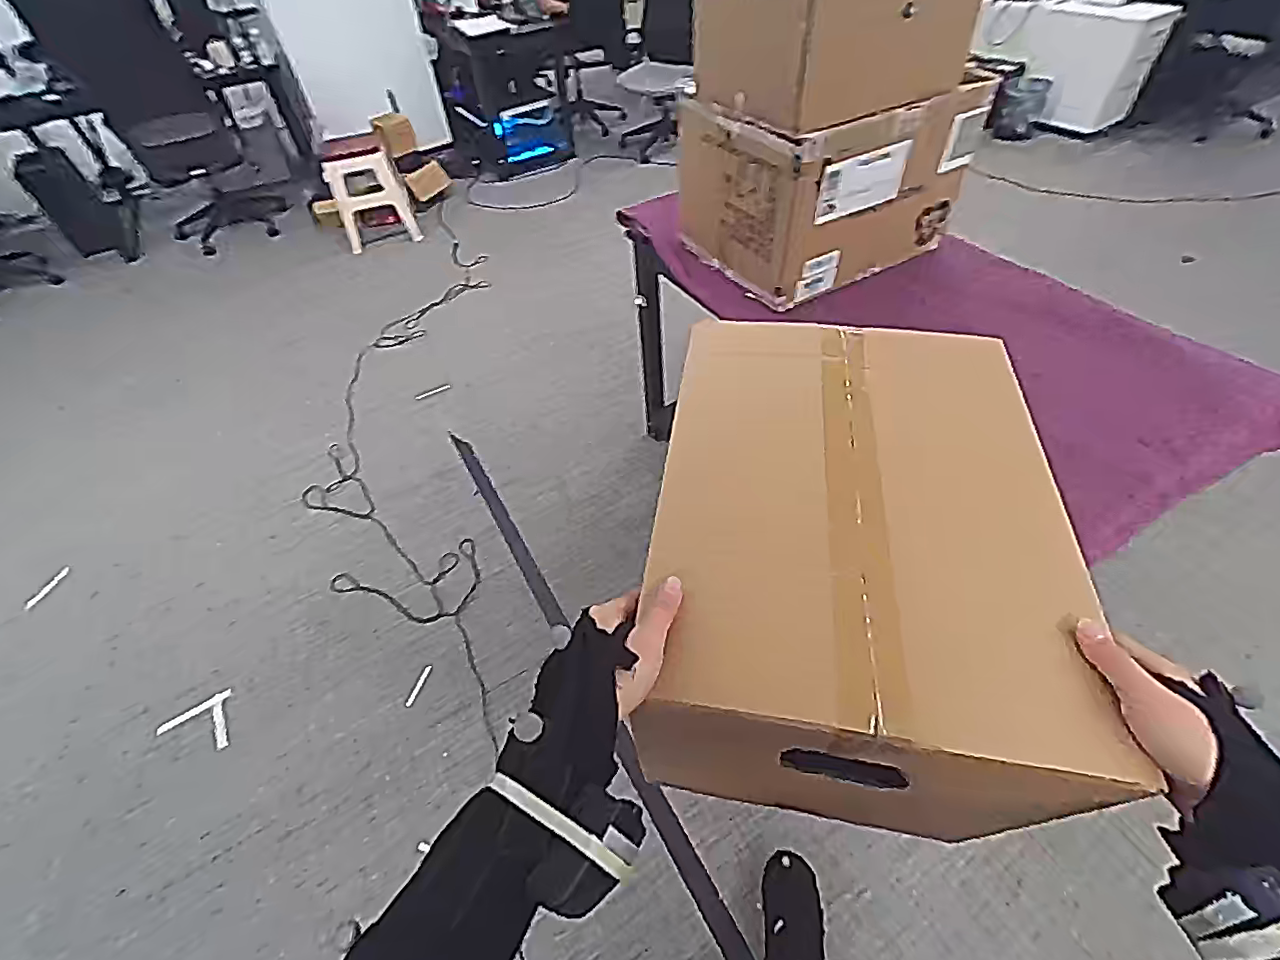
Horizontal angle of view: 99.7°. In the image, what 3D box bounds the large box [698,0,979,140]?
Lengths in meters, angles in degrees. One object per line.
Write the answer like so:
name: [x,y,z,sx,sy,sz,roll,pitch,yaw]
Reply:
large box: [0.350,-0.855,0.955,0.408,0.320,0.320,-27,51,-17]
